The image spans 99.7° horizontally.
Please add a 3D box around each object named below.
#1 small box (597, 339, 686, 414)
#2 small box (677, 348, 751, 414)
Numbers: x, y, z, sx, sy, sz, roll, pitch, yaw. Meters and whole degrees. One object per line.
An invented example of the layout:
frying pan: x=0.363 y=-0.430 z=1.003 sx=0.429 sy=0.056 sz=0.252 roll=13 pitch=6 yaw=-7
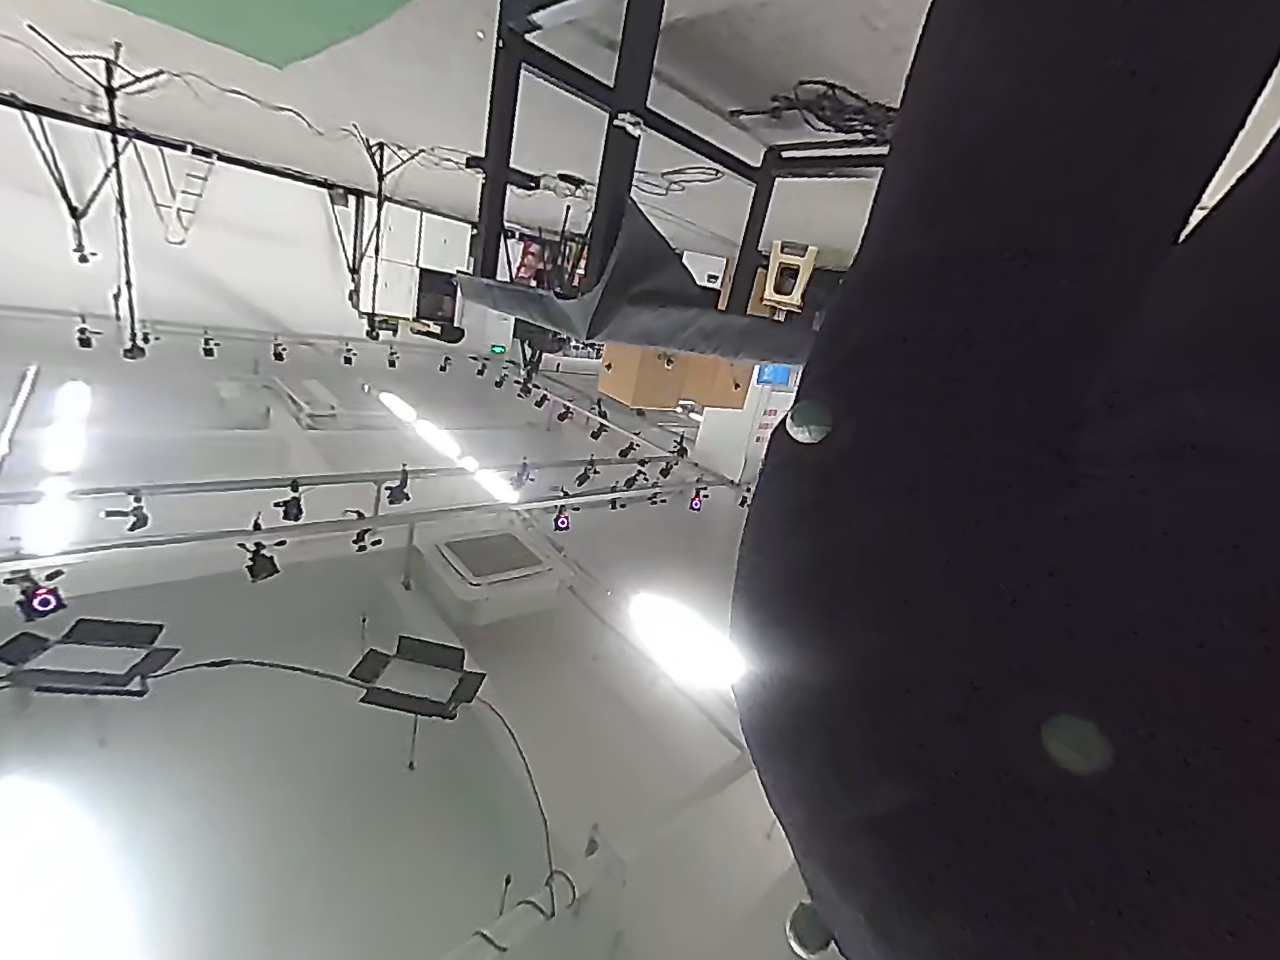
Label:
small box: x=0.006 y=-0.286 z=1.477 sx=0.168 sy=0.176 sz=0.179 roll=-3 pitch=-157 yaw=-36
small box: x=0.232 y=-0.315 z=1.709 sx=0.168 sy=0.176 sz=0.179 roll=-3 pitch=-156 yaw=-38
